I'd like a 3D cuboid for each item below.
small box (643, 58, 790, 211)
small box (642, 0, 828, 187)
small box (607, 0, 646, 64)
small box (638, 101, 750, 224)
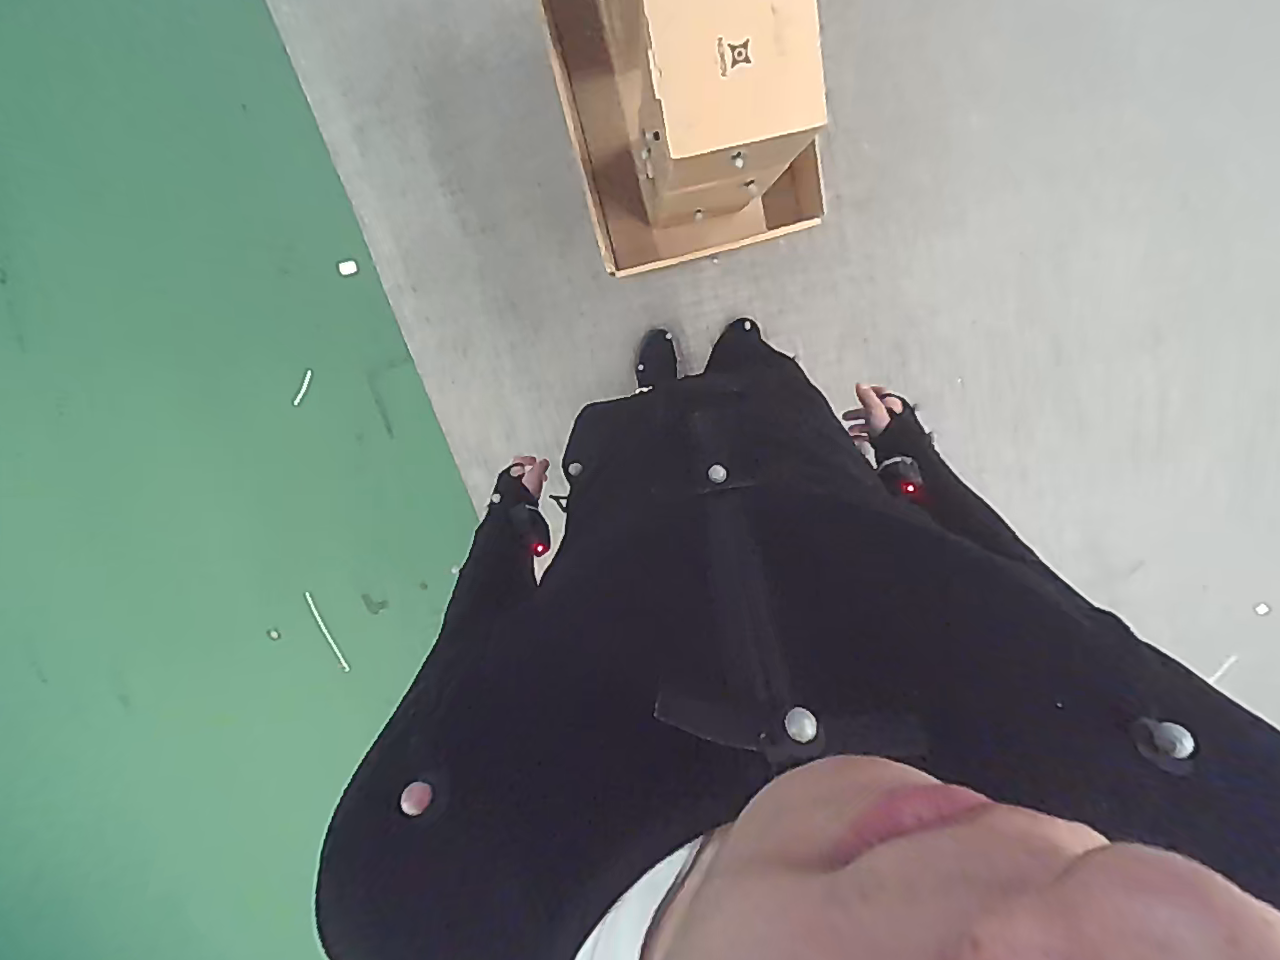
[{"bbox_3d":[0.104,-0.508,0.788,0.179,0.176,0.168,-11,106,4],"label":"small box"},{"bbox_3d":[0.101,-0.461,0.631,0.179,0.176,0.168,-10,108,3],"label":"small box"},{"bbox_3d":[0.031,-0.813,0.866,0.179,0.176,0.168,-13,108,5],"label":"small box"},{"bbox_3d":[0.101,-0.561,0.944,0.179,0.176,0.168,-12,107,5],"label":"small box"}]
